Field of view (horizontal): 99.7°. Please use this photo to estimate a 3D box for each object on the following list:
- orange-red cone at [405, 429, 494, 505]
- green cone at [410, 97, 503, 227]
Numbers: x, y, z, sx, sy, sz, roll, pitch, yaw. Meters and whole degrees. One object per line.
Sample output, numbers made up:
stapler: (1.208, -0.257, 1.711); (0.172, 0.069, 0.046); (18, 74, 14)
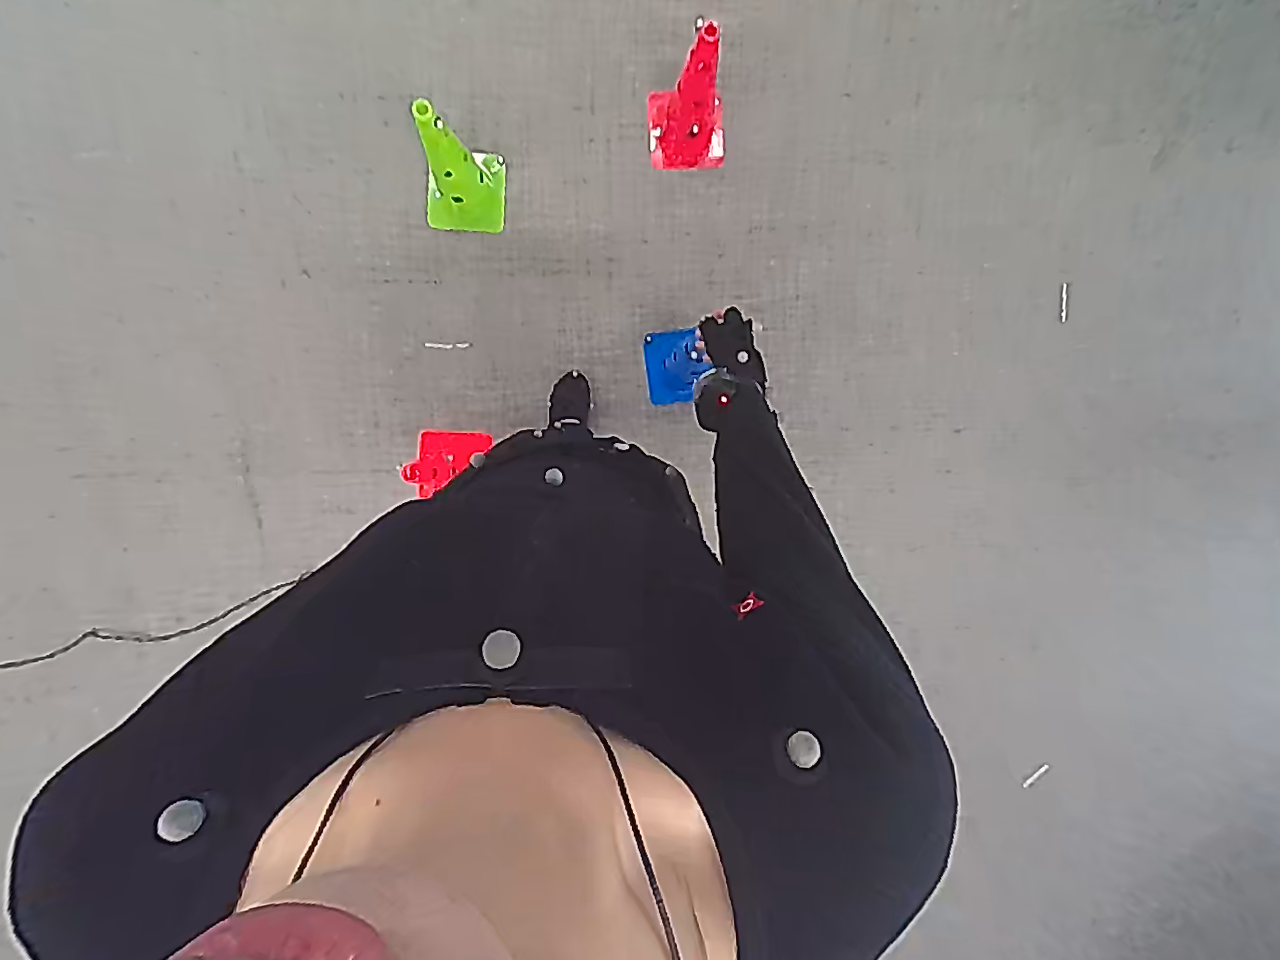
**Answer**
orange-red cone: (-0.485, -0.029, 1.294); (0.198, 0.360, 0.199); (4, 92, -5)
green cone: (-0.451, -0.758, 1.249); (0.200, 0.368, 0.202); (1, 94, -3)
